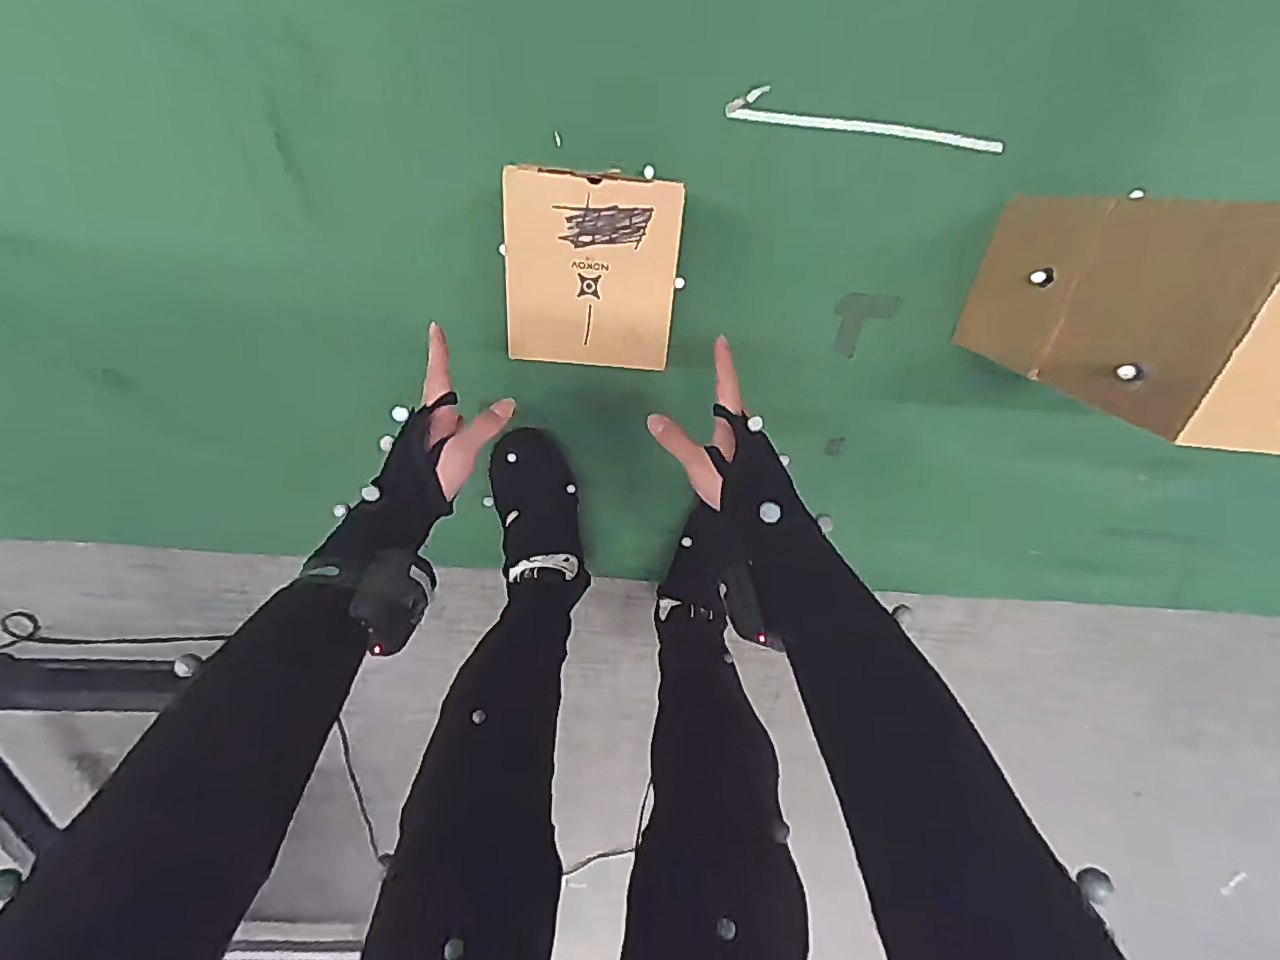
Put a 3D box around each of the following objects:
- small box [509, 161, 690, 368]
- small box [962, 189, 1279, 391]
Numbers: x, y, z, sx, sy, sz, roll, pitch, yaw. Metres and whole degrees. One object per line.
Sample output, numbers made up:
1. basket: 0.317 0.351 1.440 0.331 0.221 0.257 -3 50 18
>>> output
1. small box: -0.044 -0.236 0.589 0.168 0.176 0.179 4 119 -2
2. small box: 0.503 -0.217 0.604 0.168 0.176 0.179 6 119 -4
